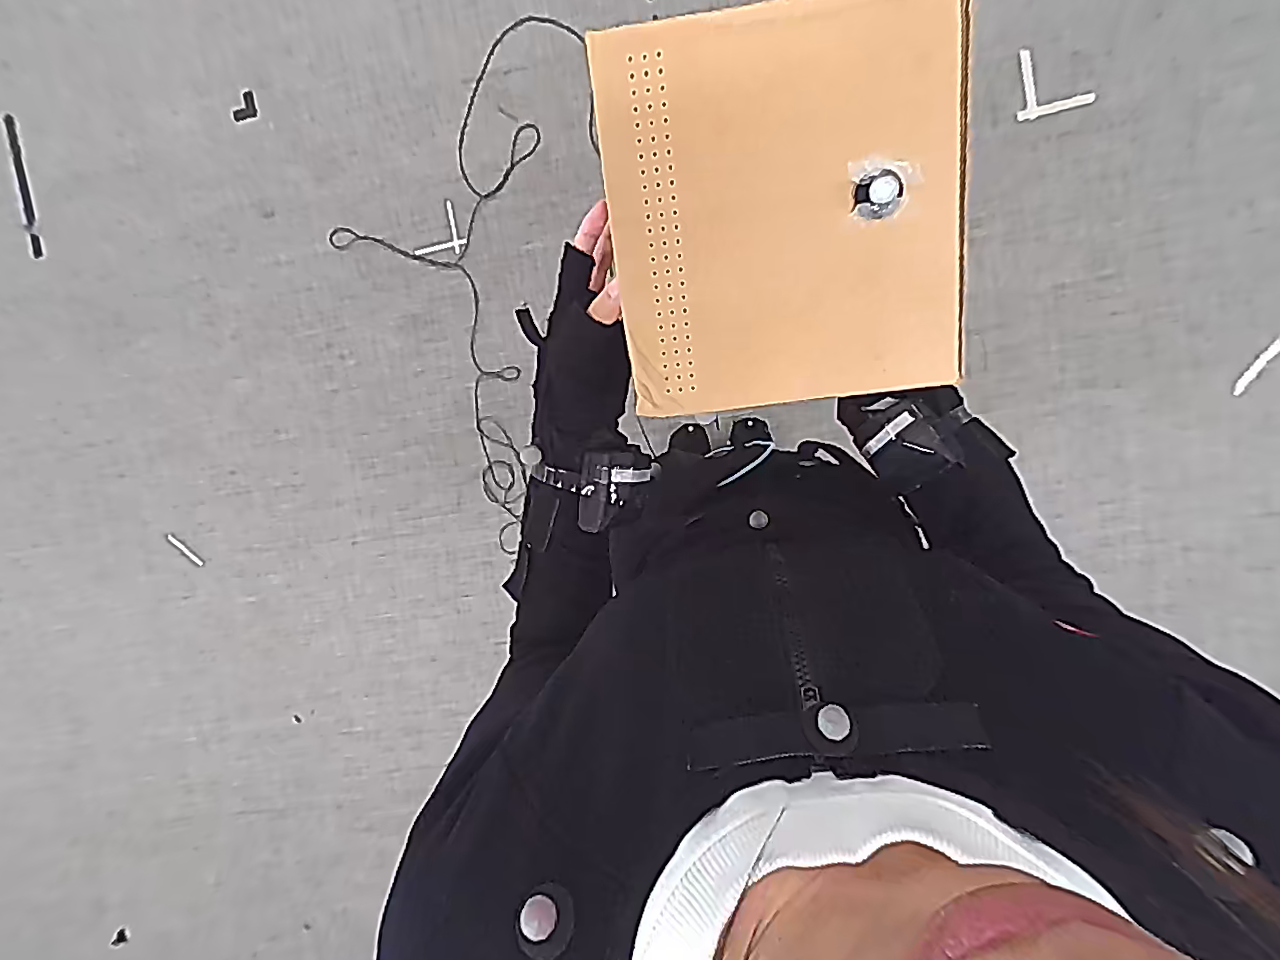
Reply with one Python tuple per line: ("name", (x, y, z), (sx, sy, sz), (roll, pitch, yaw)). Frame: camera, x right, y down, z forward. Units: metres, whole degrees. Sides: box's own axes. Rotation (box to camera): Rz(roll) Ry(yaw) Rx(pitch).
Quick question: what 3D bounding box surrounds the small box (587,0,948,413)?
("small box", (0.067, -0.148, 0.342), (0.176, 0.168, 0.179), (-6, 105, 6))
